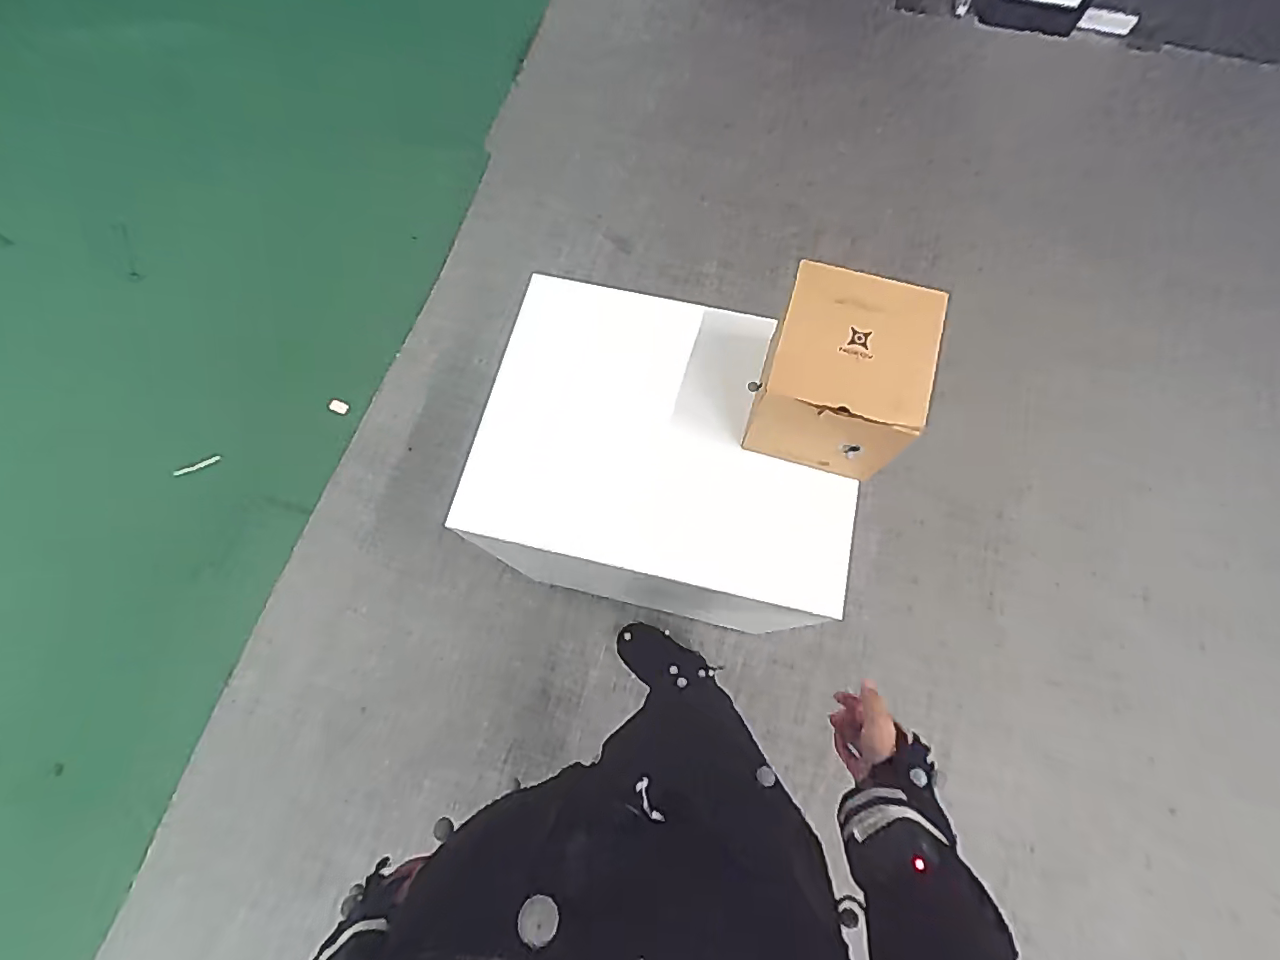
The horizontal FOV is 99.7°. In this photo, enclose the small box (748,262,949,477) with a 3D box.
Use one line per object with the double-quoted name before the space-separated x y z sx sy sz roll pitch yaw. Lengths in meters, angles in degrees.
"small box" 0.236 -0.121 0.651 0.168 0.176 0.179 16 73 6
